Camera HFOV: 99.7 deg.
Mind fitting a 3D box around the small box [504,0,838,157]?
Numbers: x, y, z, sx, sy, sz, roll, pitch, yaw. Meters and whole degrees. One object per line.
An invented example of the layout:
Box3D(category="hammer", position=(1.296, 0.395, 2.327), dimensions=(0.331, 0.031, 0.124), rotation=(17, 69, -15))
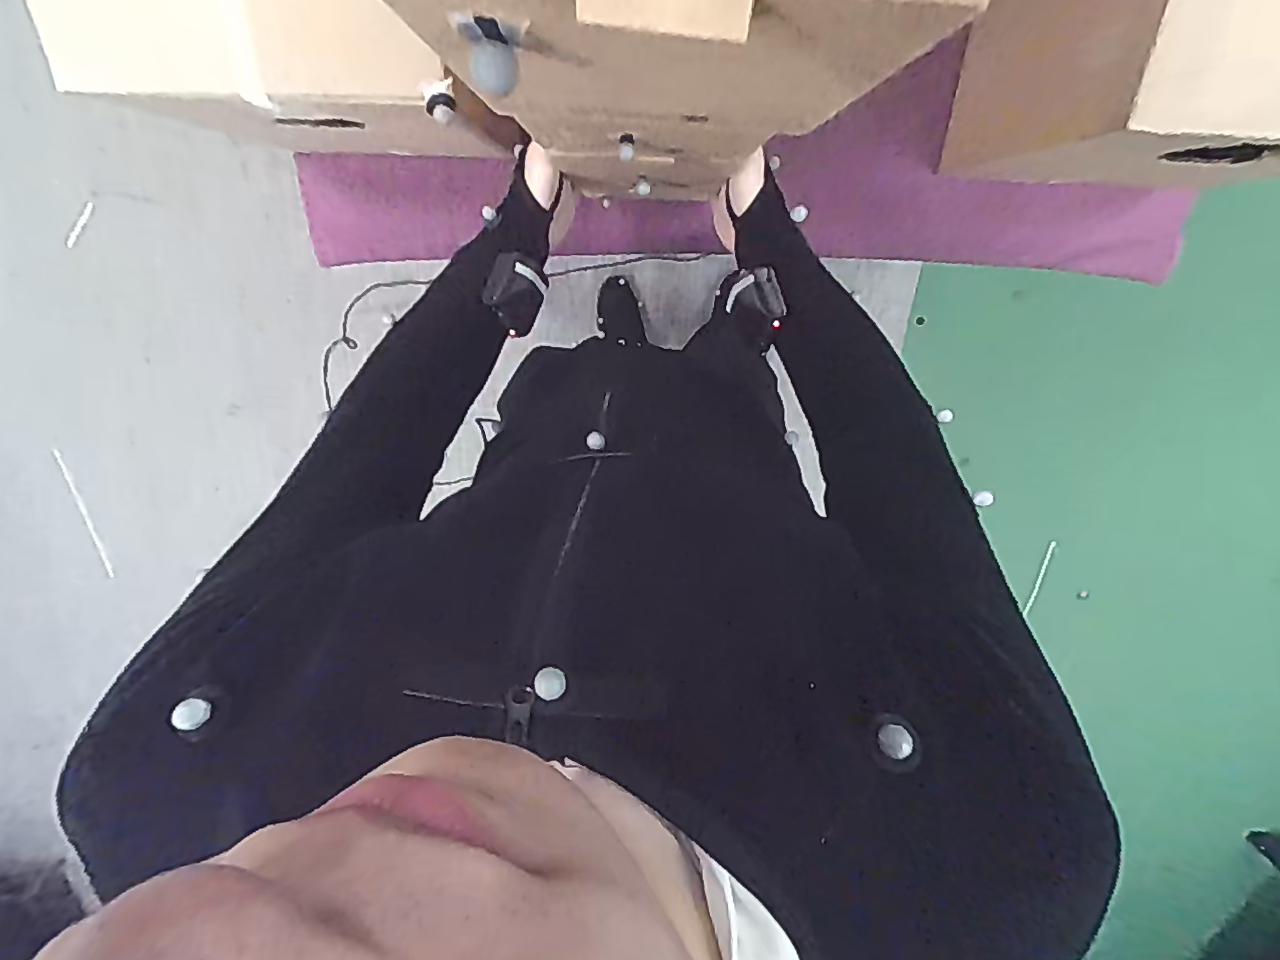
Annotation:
Box3D(category="small box", position=(0.014, -0.306, 0.318), dimensions=(0.168, 0.176, 0.179), rotation=(1, 114, -2))

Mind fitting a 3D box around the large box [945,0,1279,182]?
Box3D(category="large box", position=(0.561, -0.529, 0.514), dimensions=(0.320, 0.320, 0.408), rotation=(2, 114, -1))

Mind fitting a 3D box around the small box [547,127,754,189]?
Box3D(category="small box", position=(0.011, -0.365, 0.468), dimensions=(0.168, 0.176, 0.179), rotation=(2, 112, -1))
